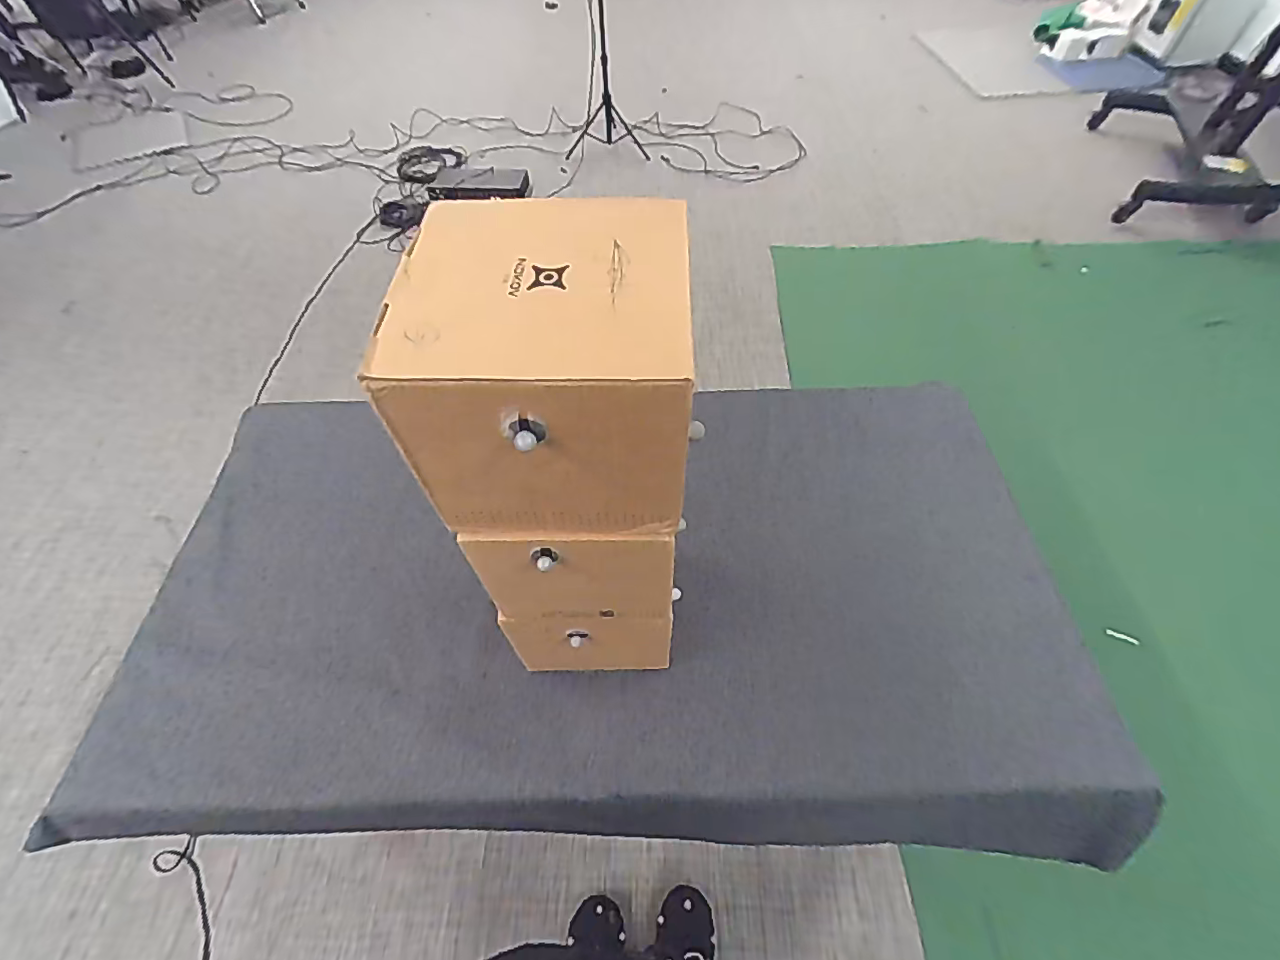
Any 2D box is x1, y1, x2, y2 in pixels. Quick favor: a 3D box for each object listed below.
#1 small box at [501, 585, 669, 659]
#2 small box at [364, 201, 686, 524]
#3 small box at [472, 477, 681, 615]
[{"bbox_3d":[-0.054,0.113,0.659,0.179,0.176,0.168,-1,55,1],"label":"small box"},{"bbox_3d":[-0.058,-0.077,0.395,0.179,0.176,0.168,1,57,1],"label":"small box"},{"bbox_3d":[-0.052,0.018,0.530,0.168,0.176,0.179,-2,56,-1],"label":"small box"}]
